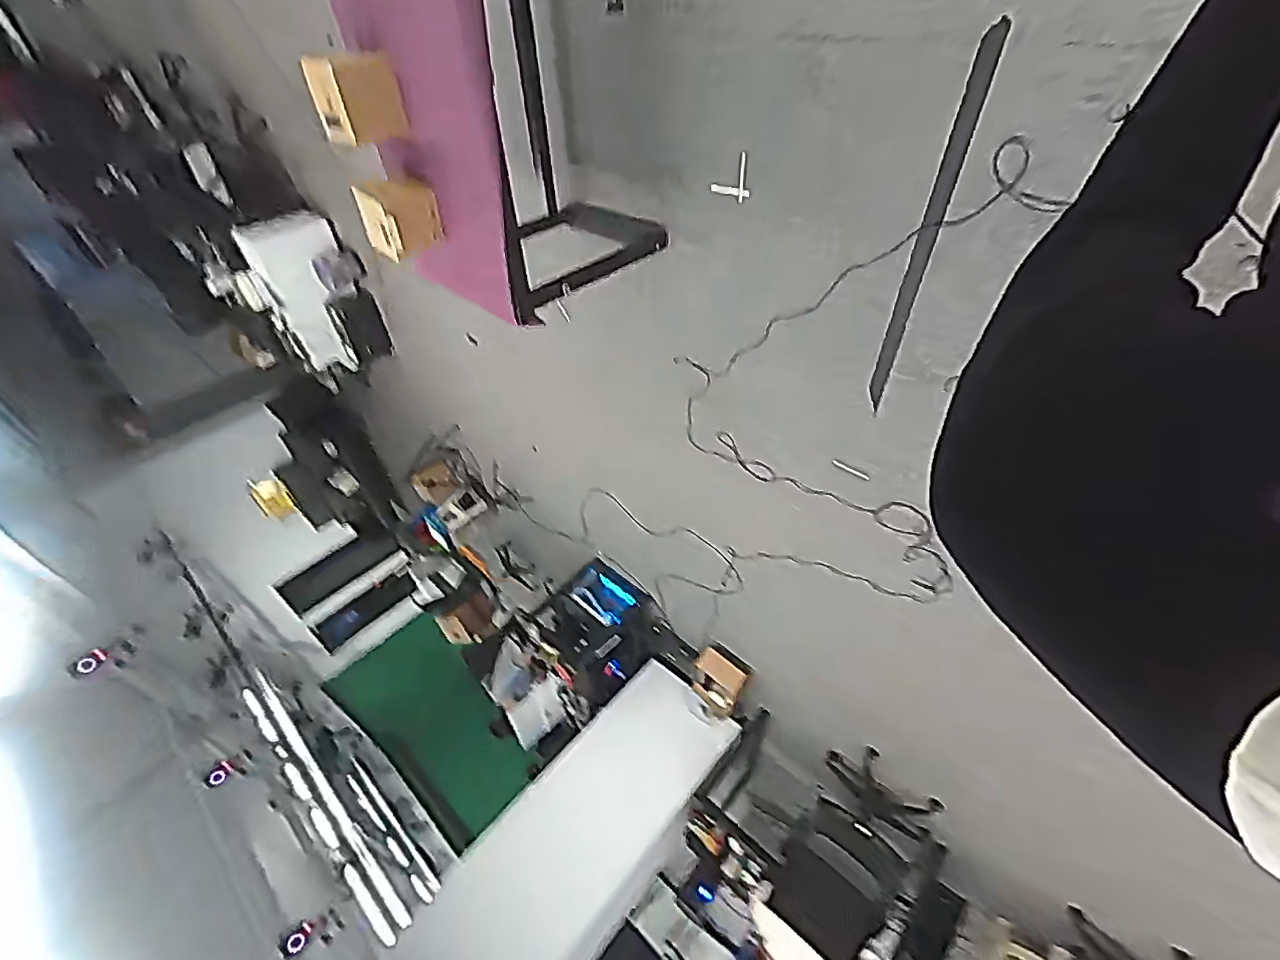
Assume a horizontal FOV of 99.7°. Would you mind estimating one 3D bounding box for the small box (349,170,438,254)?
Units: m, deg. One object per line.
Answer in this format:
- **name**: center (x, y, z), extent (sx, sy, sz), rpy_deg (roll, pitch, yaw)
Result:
- **small box**: center (-0.742, -0.825, 1.653), extent (0.179, 0.176, 0.168), rpy_deg (35, 145, 25)
